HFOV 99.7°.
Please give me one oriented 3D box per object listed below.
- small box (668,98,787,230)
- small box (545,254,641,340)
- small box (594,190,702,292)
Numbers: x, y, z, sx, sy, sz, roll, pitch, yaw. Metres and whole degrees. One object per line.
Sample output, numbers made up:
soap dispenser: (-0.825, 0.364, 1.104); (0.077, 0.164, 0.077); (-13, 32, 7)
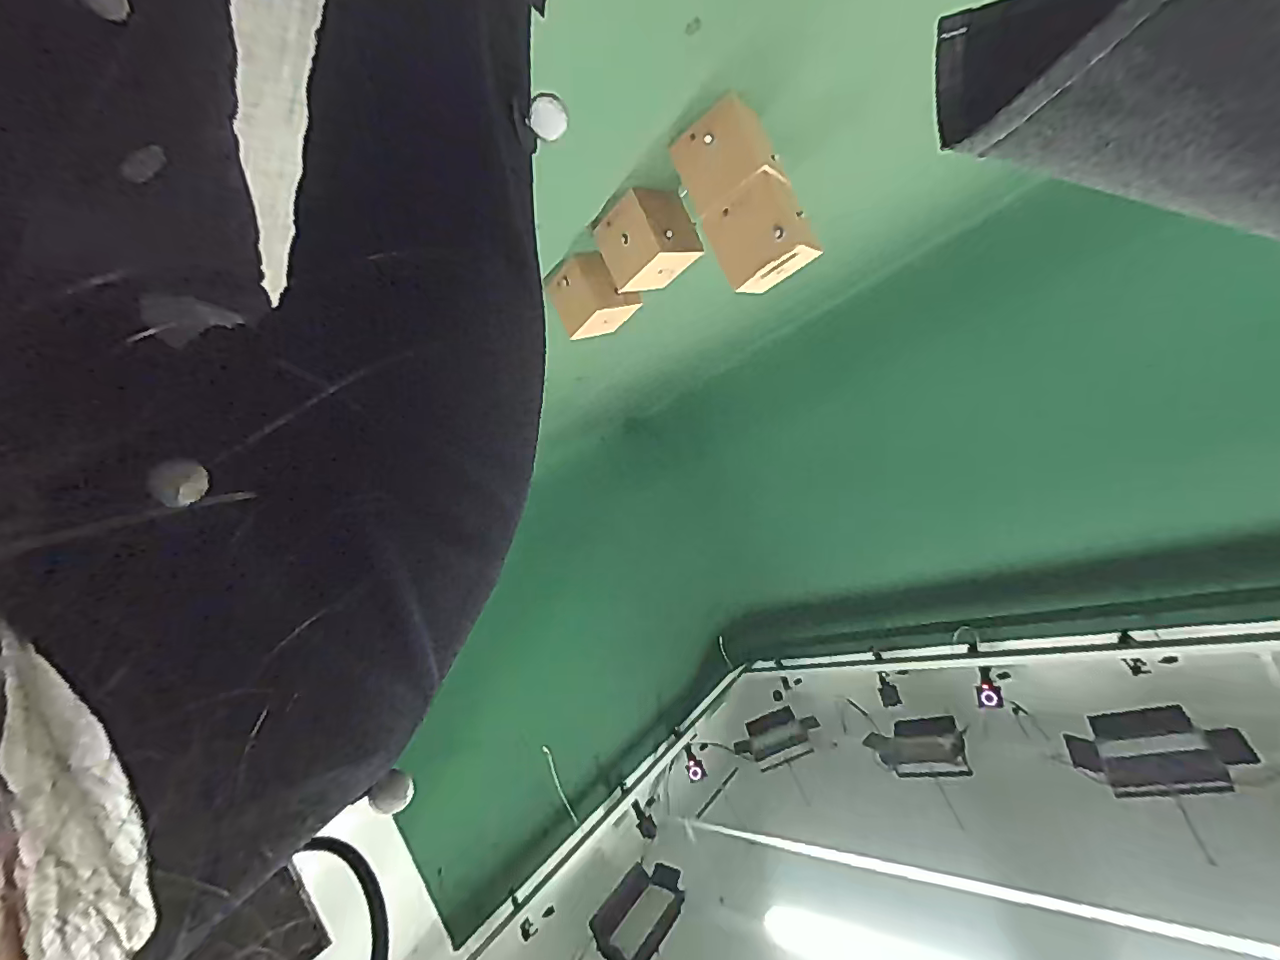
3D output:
small box: (0.191, -0.678, 1.172); (0.168, 0.176, 0.179); (-27, 178, 34)
small box: (-0.136, -0.520, 1.524); (0.179, 0.176, 0.168); (-25, 179, -40)
small box: (0.015, -0.592, 1.340); (0.179, 0.176, 0.168); (-26, 180, -43)
